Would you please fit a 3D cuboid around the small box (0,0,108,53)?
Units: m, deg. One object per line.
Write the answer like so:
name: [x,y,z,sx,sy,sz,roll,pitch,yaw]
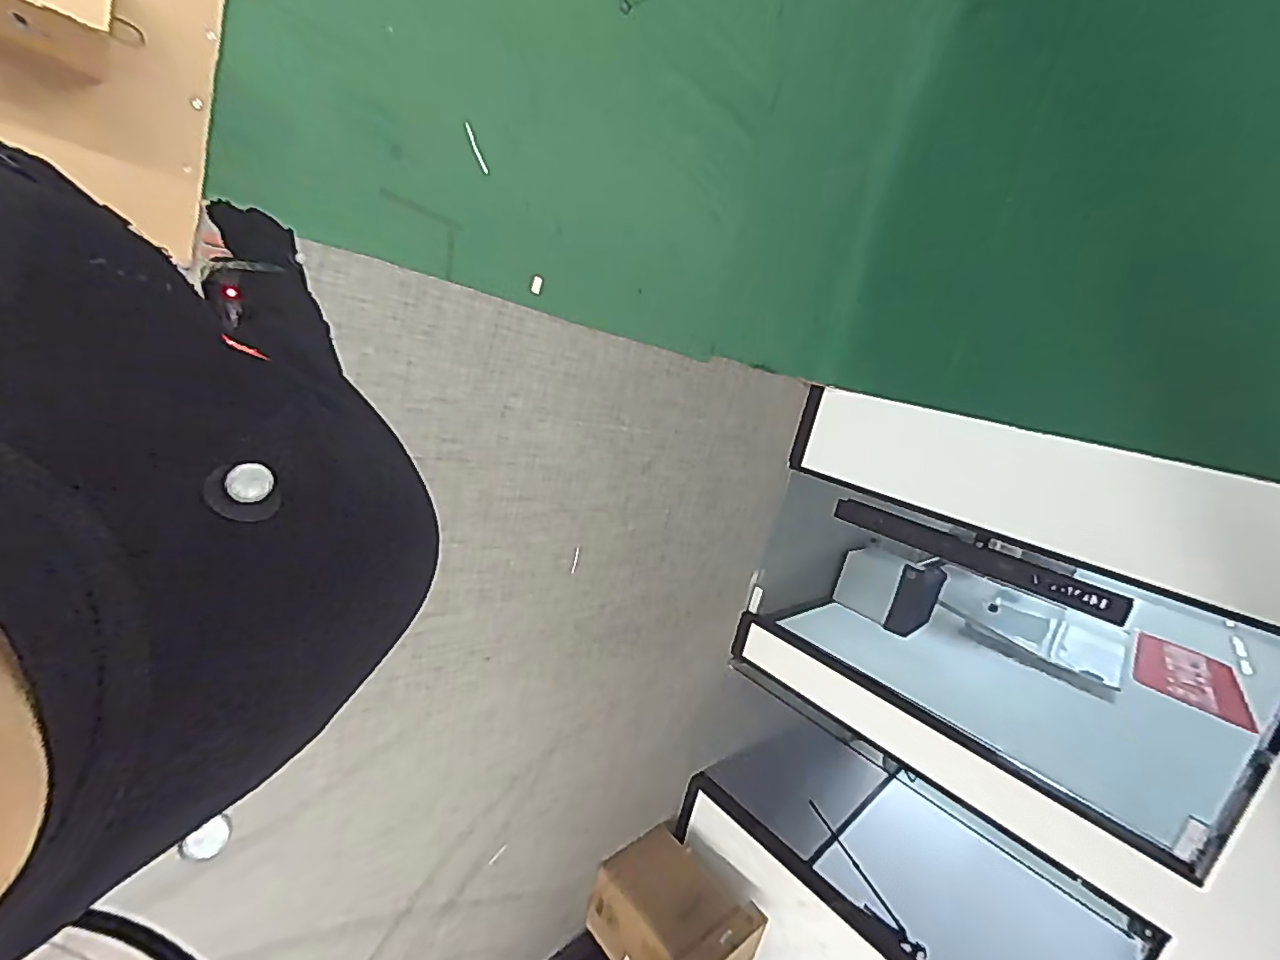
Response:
small box: [-0.796,-0.704,0.693,0.168,0.176,0.179,5,104,-46]
